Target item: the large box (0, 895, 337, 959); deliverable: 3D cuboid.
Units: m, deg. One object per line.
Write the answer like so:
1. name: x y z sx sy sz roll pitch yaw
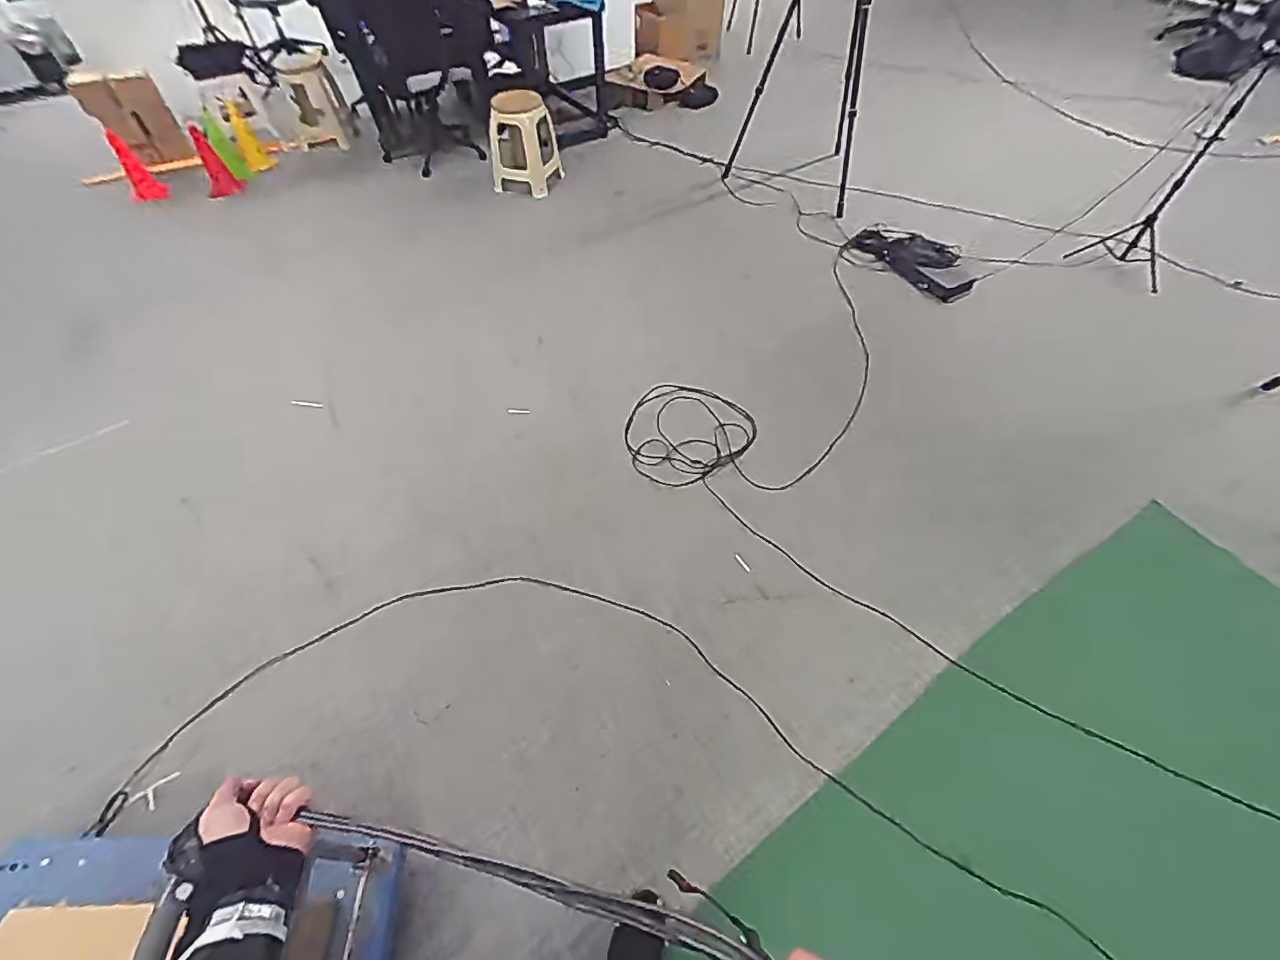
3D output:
1. large box: -0.814 0.905 0.909 0.408 0.320 0.320 -2 52 0
